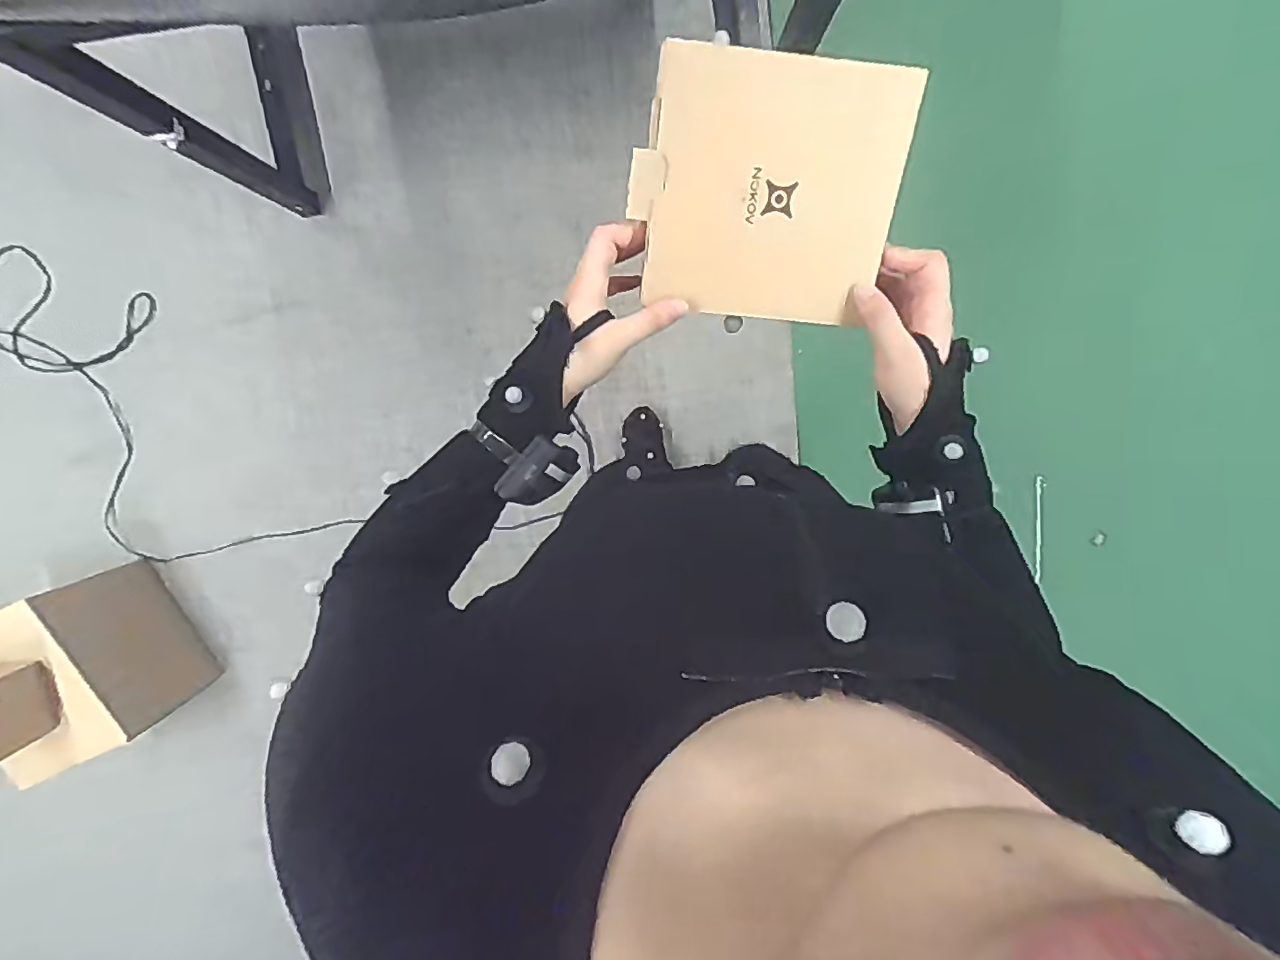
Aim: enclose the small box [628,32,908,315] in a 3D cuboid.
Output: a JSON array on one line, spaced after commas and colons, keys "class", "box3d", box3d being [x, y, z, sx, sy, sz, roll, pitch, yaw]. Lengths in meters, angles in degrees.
[{"class": "small box", "box3d": [0.084, -0.243, 0.456, 0.179, 0.176, 0.168, 4, 115, -1]}]
